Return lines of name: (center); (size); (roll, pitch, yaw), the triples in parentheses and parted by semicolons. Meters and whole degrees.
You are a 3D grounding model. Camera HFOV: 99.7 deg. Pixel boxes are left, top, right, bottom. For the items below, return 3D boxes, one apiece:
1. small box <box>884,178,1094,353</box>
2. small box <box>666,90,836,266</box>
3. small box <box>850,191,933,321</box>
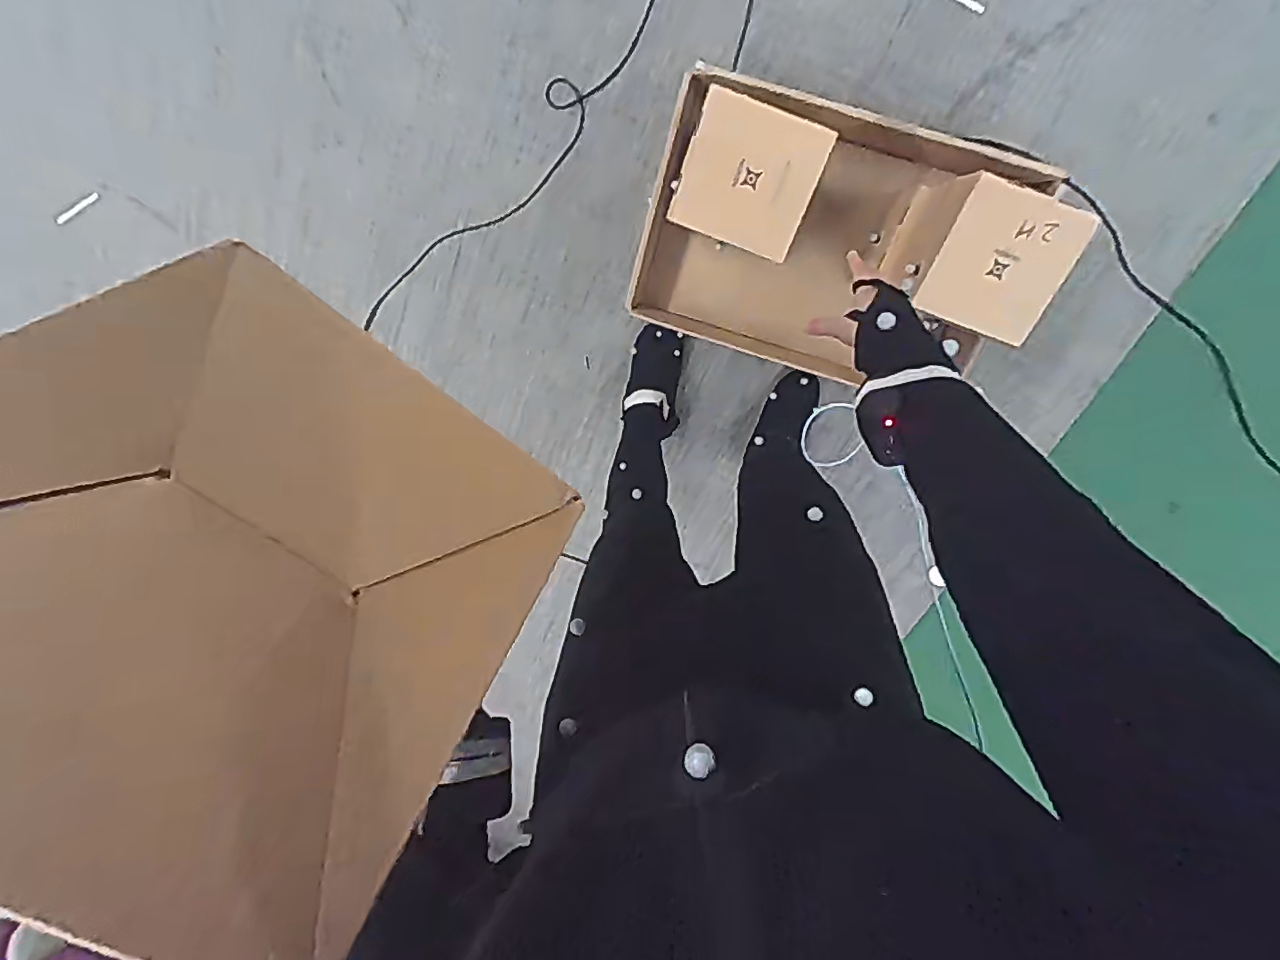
small box: (0.484, -0.308, 0.789); (0.168, 0.176, 0.179); (21, 113, -2)
small box: (0.154, -0.427, 0.792); (0.179, 0.176, 0.168); (22, 115, -1)
small box: (0.492, -0.376, 0.940); (0.179, 0.176, 0.168); (22, 113, 0)
